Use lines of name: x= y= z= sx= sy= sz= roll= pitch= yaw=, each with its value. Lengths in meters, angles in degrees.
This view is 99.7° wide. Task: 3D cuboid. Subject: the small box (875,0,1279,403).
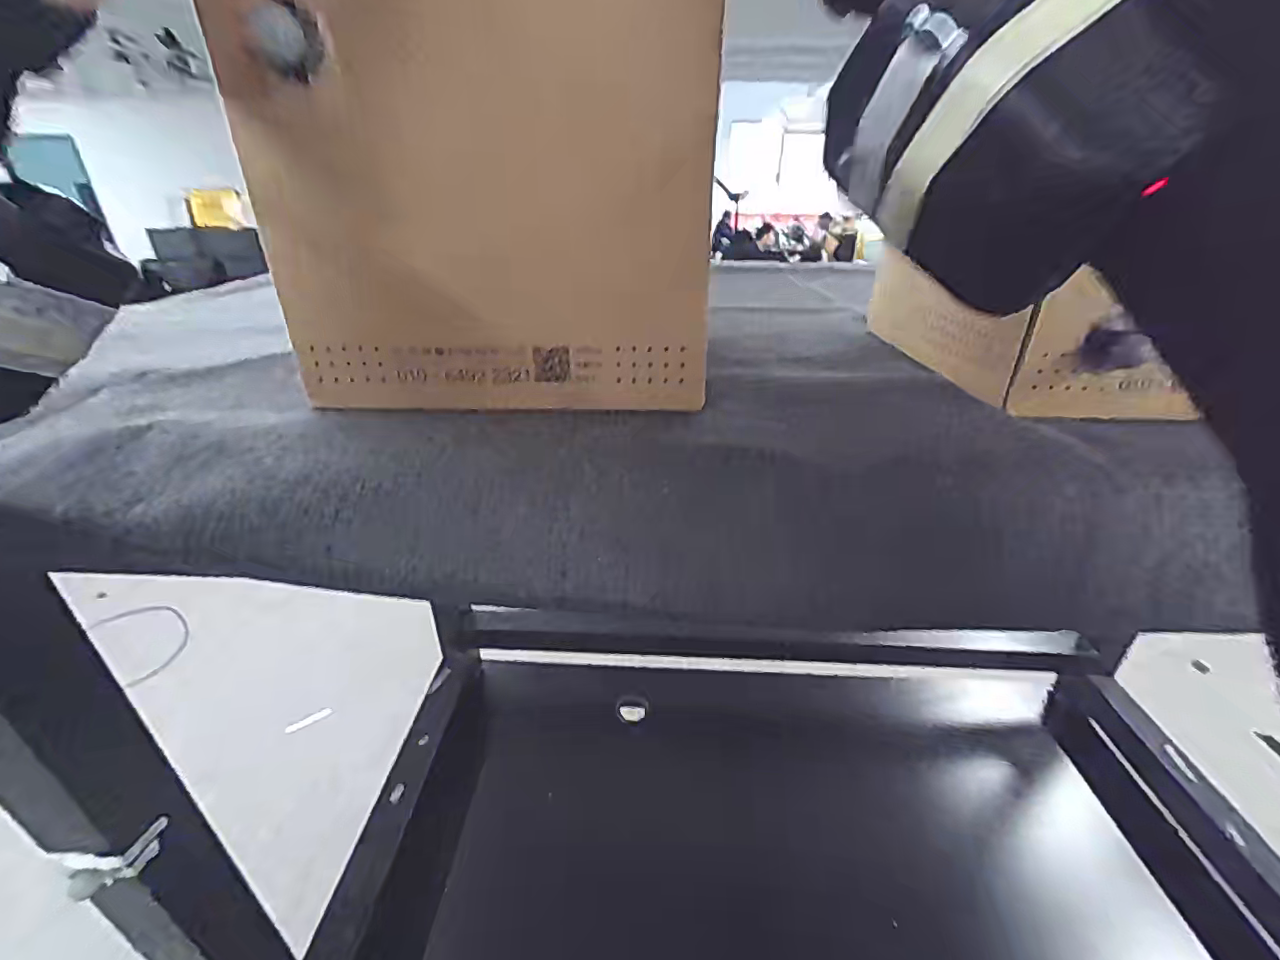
small box: x=0.233 y=-0.139 z=0.255 sx=0.168 sy=0.176 sz=0.179 roll=2 pitch=26 yaw=2
